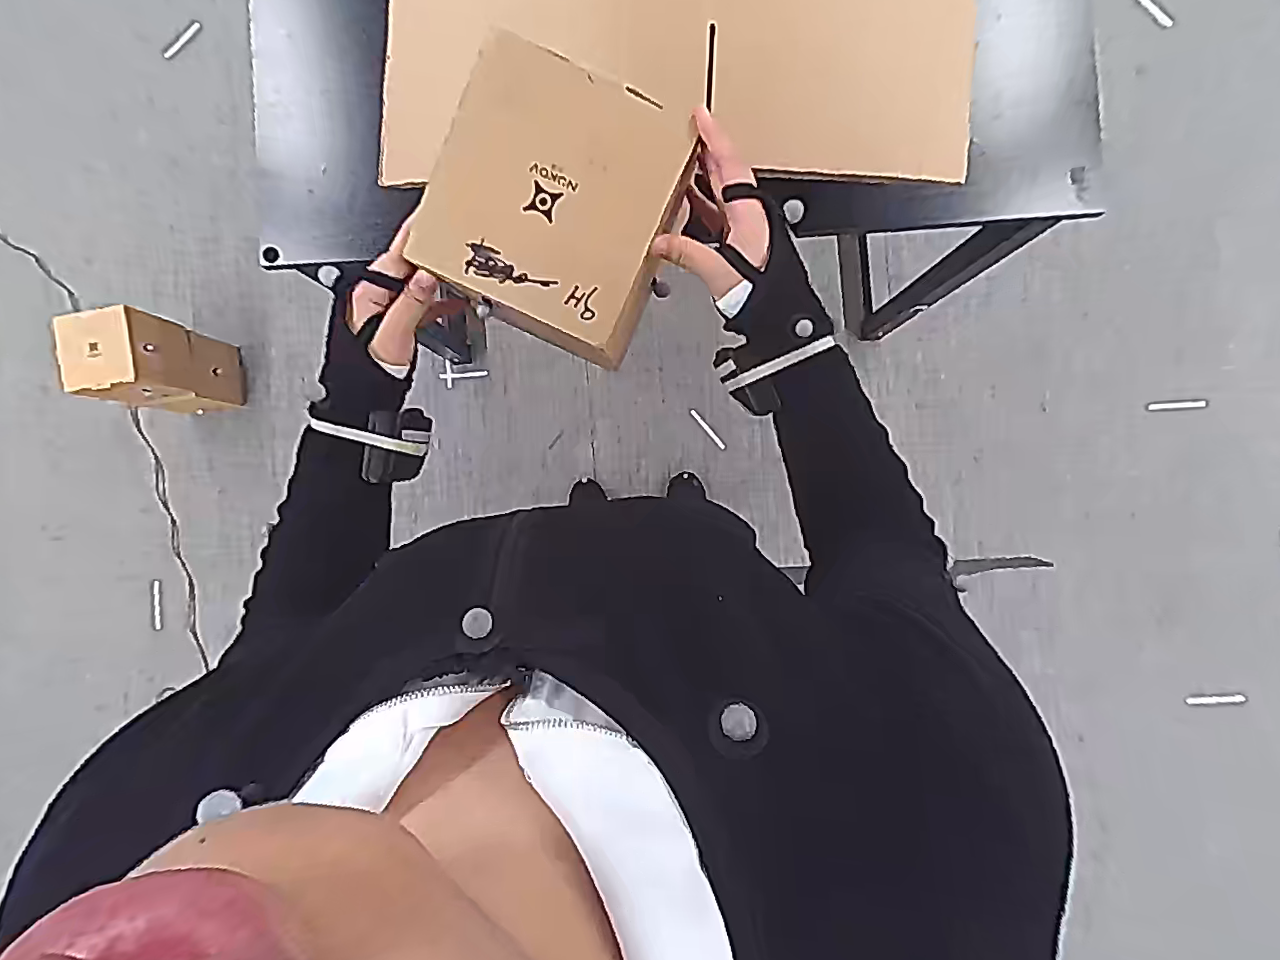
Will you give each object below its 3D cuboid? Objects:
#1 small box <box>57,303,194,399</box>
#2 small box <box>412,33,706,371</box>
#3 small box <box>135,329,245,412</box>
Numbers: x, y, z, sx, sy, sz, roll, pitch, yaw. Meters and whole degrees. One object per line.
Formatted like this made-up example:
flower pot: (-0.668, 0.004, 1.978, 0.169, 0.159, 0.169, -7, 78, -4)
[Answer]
small box: (-1.210, -0.297, 1.287, 0.168, 0.176, 0.179, -10, 88, 0)
small box: (-0.060, -0.215, 0.473, 0.168, 0.176, 0.179, 25, 94, 0)
small box: (-1.205, -0.288, 1.449, 0.168, 0.176, 0.179, -7, 90, 1)
